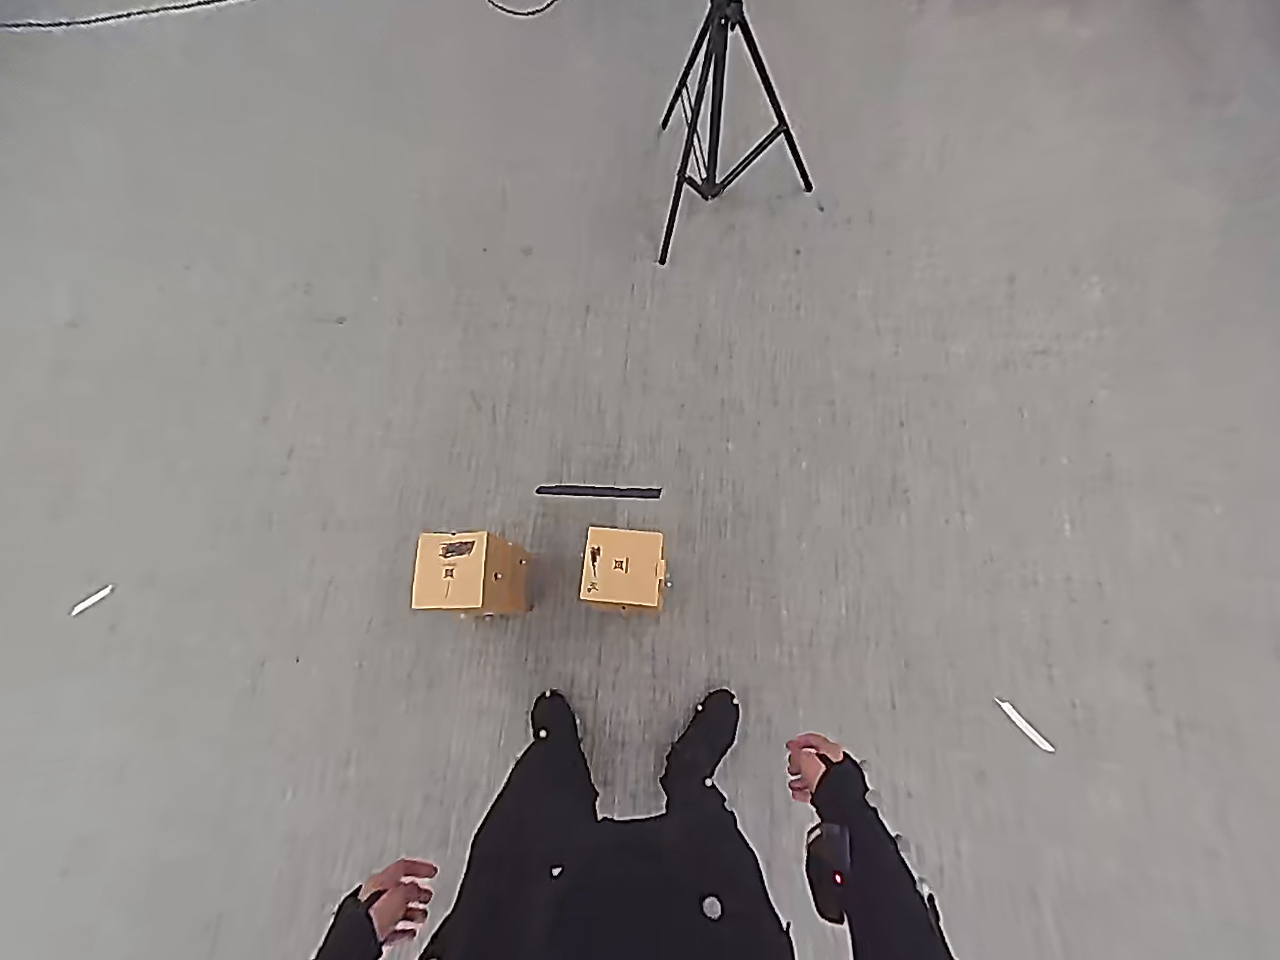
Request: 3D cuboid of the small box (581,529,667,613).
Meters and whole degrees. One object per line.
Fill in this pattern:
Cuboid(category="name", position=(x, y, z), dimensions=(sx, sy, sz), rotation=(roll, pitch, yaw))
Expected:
Cuboid(category="small box", position=(-0.031, 0.221, 1.280), dimensions=(0.179, 0.176, 0.168), rotation=(6, 73, 5))

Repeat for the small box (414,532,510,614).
Cuboid(category="small box", position=(-0.421, 0.229, 1.307), dimensions=(0.168, 0.176, 0.179), rotation=(-1, 73, 5))

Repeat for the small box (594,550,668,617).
Cuboid(category="small box", position=(-0.020, 0.271, 1.436), dimensions=(0.179, 0.176, 0.168), rotation=(4, 73, 5))

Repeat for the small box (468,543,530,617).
Cuboid(category="small box", position=(-0.401, 0.274, 1.464), dimensions=(0.168, 0.176, 0.179), rotation=(-3, 73, 4))
